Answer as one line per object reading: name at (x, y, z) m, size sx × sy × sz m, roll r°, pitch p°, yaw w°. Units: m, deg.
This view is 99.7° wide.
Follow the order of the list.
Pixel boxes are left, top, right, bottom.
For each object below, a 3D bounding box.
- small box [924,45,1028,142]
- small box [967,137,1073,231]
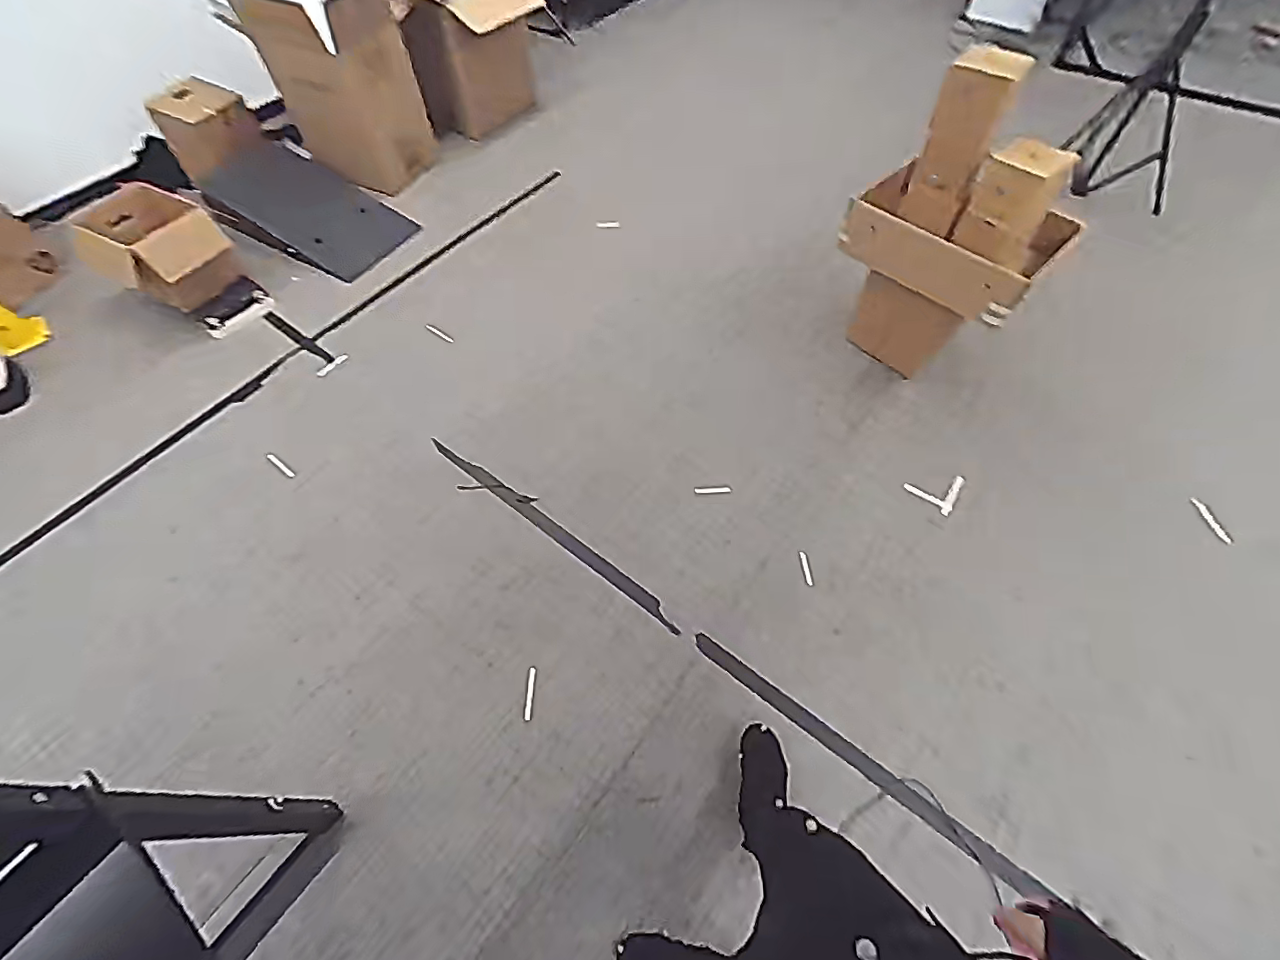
small box at (0.958, -1.108, 1.557) m, size 0.179 × 0.176 × 0.168 m, roll 33°, pitch 65°, yaw 20°
small box at (1.107, -0.869, 1.595) m, size 0.179 × 0.176 × 0.168 m, roll -35°, pitch 61°, yaw -20°
